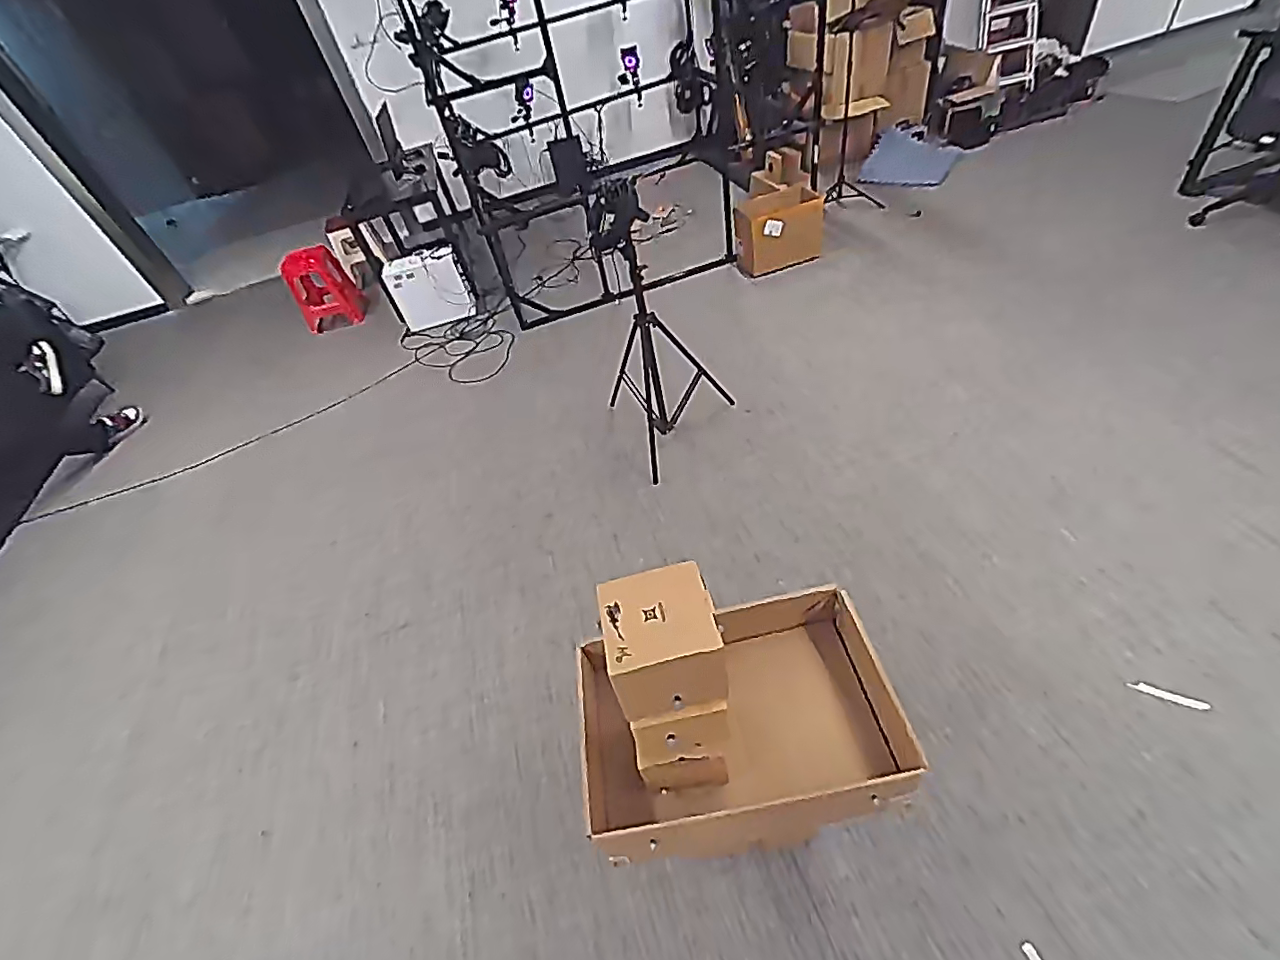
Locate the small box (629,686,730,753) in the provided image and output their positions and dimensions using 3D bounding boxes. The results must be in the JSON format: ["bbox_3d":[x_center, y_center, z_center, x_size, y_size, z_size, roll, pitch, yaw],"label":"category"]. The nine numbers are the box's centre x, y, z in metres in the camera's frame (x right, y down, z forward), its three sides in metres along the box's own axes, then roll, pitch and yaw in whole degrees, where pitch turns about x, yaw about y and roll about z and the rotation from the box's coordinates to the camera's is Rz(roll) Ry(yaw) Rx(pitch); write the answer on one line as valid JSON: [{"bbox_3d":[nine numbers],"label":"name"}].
[{"bbox_3d":[0.065,0.384,1.001,0.168,0.176,0.179,-12,44,0],"label":"small box"}]

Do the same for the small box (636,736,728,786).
[{"bbox_3d":[0.083,0.507,1.107,0.168,0.176,0.179,-10,44,3],"label":"small box"}]

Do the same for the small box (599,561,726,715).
[{"bbox_3d":[0.038,0.263,0.894,0.179,0.176,0.168,-13,43,-1],"label":"small box"}]
